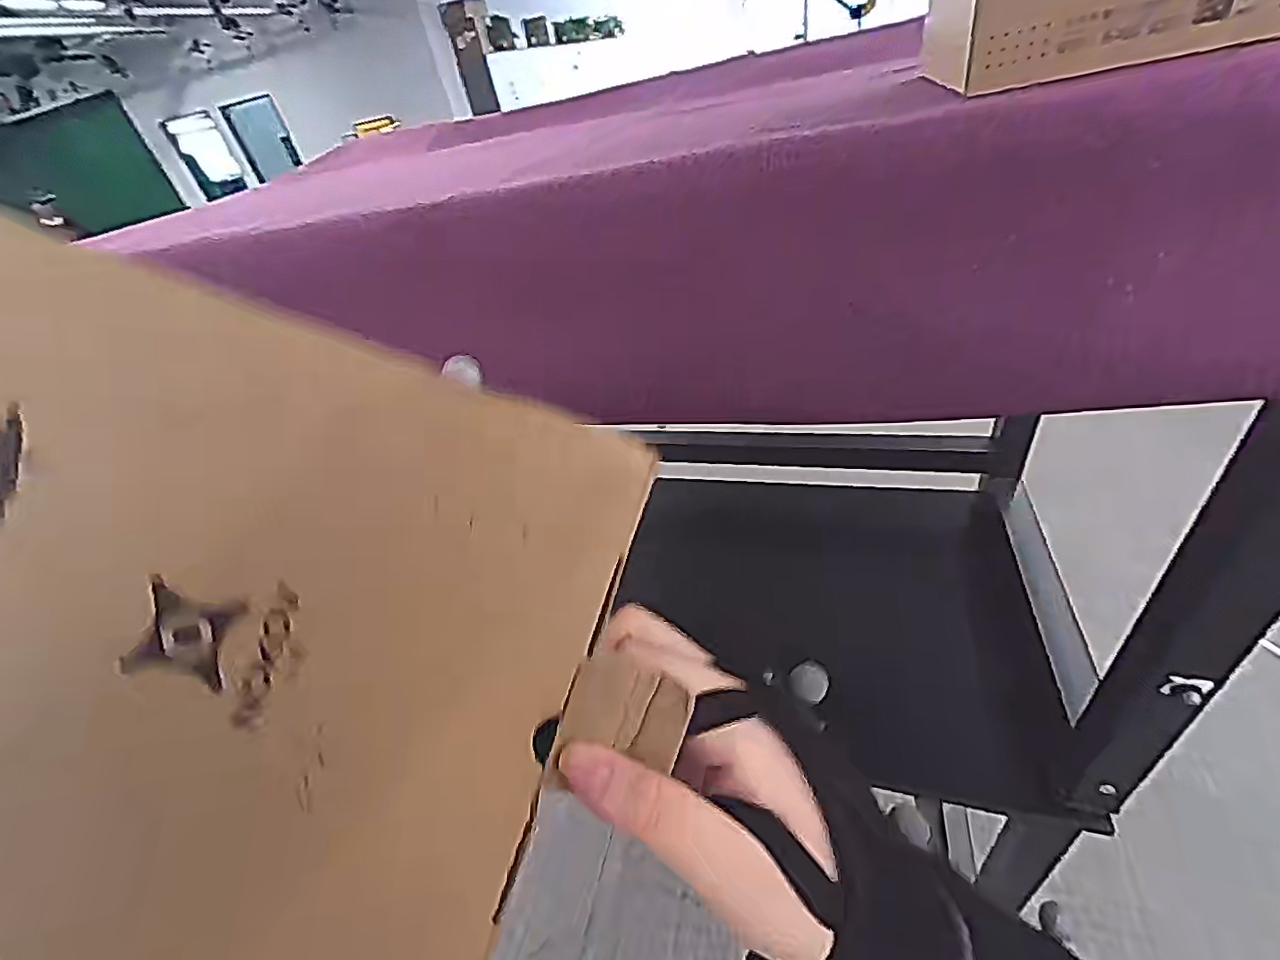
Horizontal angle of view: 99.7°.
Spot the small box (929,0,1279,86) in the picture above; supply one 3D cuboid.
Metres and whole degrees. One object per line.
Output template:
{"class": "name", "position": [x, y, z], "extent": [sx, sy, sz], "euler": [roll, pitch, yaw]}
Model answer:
{"class": "small box", "position": [0.268, -0.333, 0.295], "extent": [0.168, 0.176, 0.179], "euler": [0, 38, 18]}
